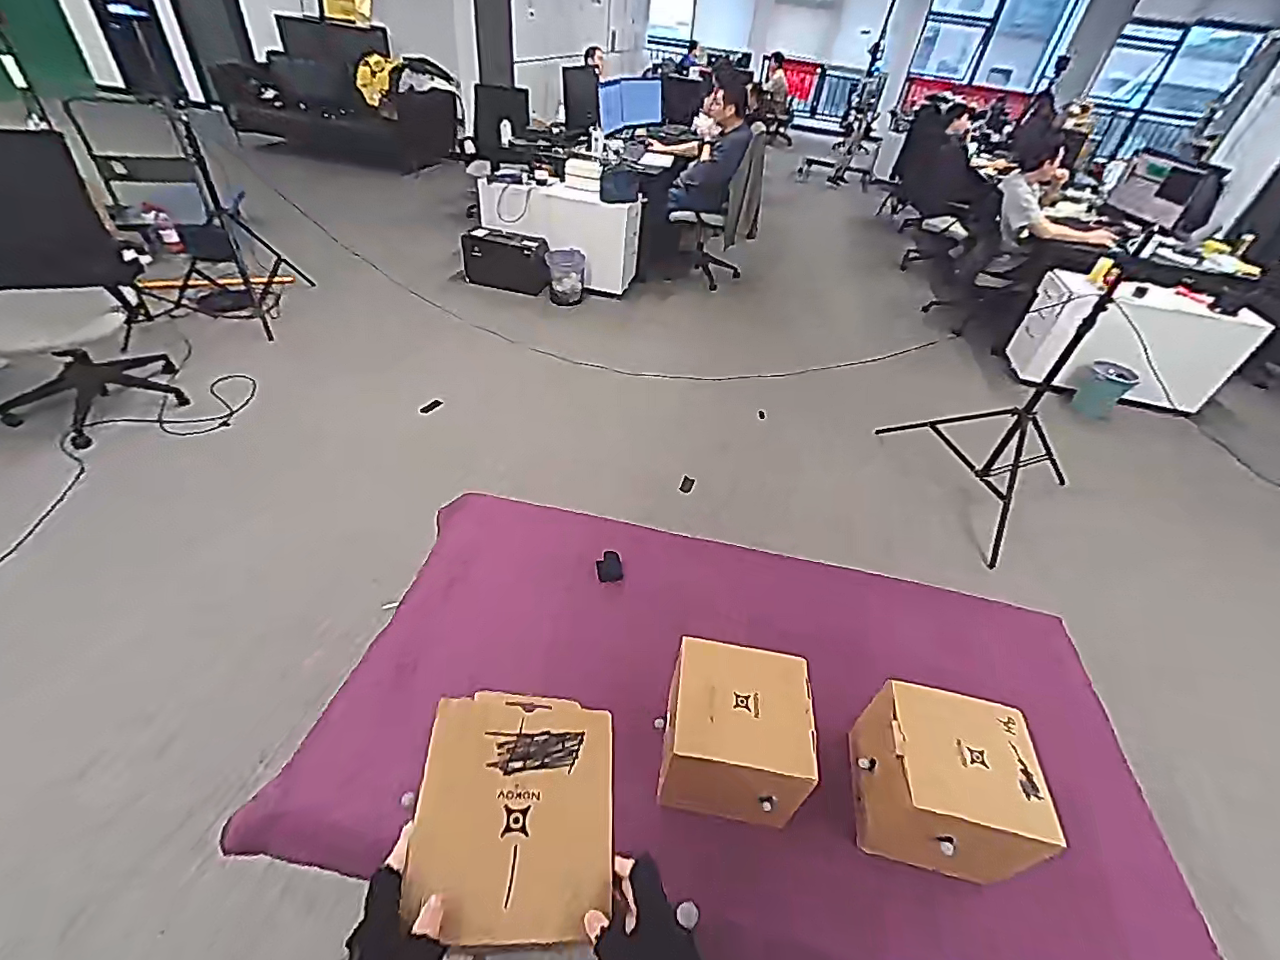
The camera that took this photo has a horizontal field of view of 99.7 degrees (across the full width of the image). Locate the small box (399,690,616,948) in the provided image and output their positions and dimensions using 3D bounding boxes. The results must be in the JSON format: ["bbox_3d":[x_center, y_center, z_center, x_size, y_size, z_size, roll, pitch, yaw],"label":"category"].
[{"bbox_3d":[-0.125,0.325,0.516,0.168,0.176,0.179,11,46,-15],"label":"small box"}]

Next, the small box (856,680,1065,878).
[{"bbox_3d":[0.404,0.401,0.725,0.179,0.176,0.168,10,40,6],"label":"small box"}]

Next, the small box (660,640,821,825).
[{"bbox_3d":[0.130,0.350,0.747,0.179,0.176,0.168,8,39,2],"label":"small box"}]
